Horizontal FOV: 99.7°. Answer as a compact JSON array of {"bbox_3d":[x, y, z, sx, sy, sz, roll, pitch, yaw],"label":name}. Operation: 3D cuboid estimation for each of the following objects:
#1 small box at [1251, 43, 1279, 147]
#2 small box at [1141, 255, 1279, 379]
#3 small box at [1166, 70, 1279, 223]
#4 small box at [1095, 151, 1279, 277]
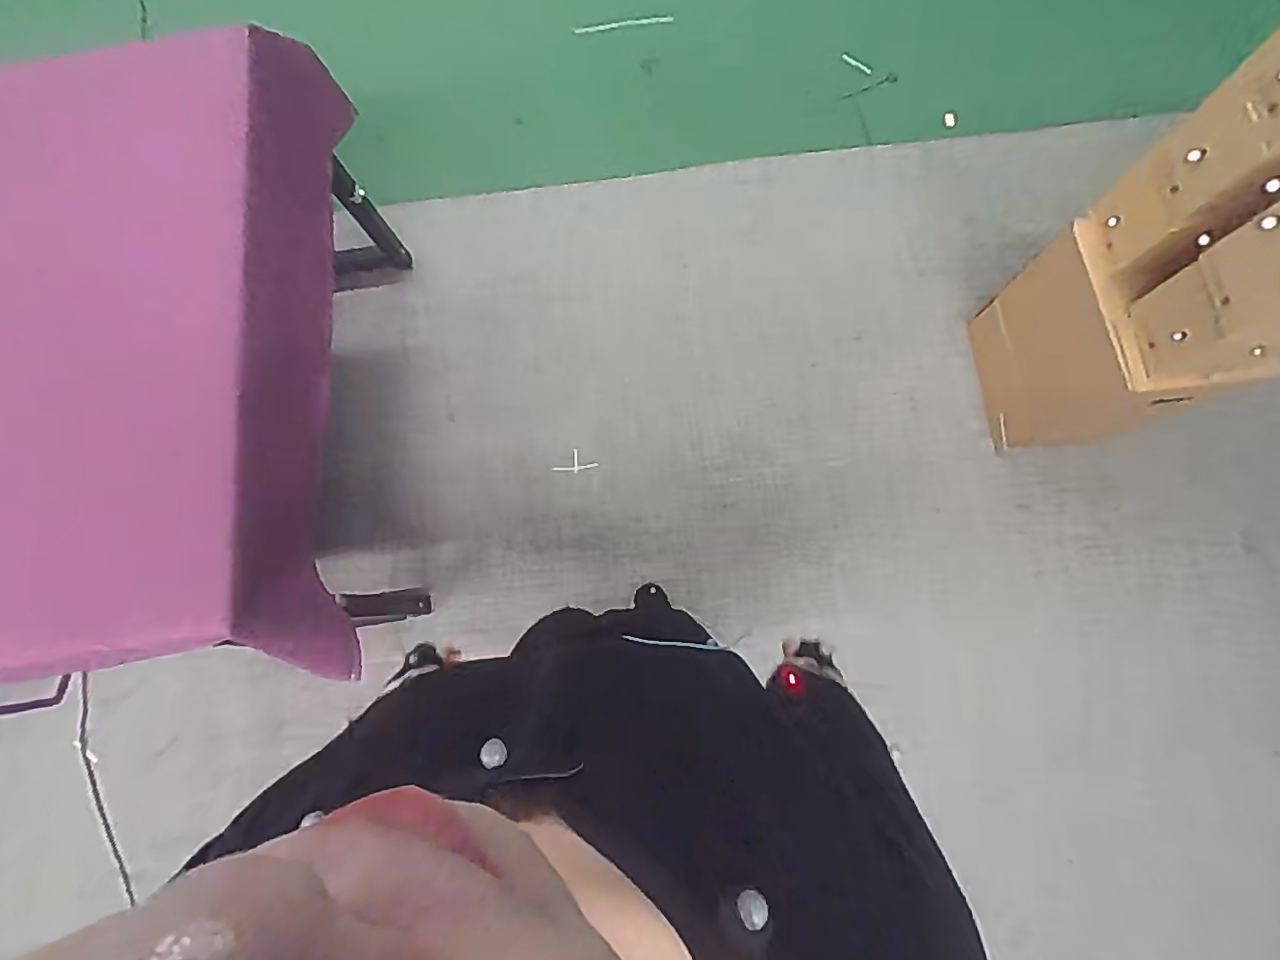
[{"bbox_3d":[1.047,-0.602,0.757,0.179,0.176,0.168,-4,77,4],"label":"small box"},{"bbox_3d":[1.105,-0.300,1.022,0.179,0.176,0.168,-2,76,3],"label":"small box"},{"bbox_3d":[1.057,-0.563,0.918,0.179,0.176,0.168,-4,78,4],"label":"small box"},{"bbox_3d":[1.074,-0.529,1.078,0.179,0.176,0.168,-5,78,4],"label":"small box"}]
